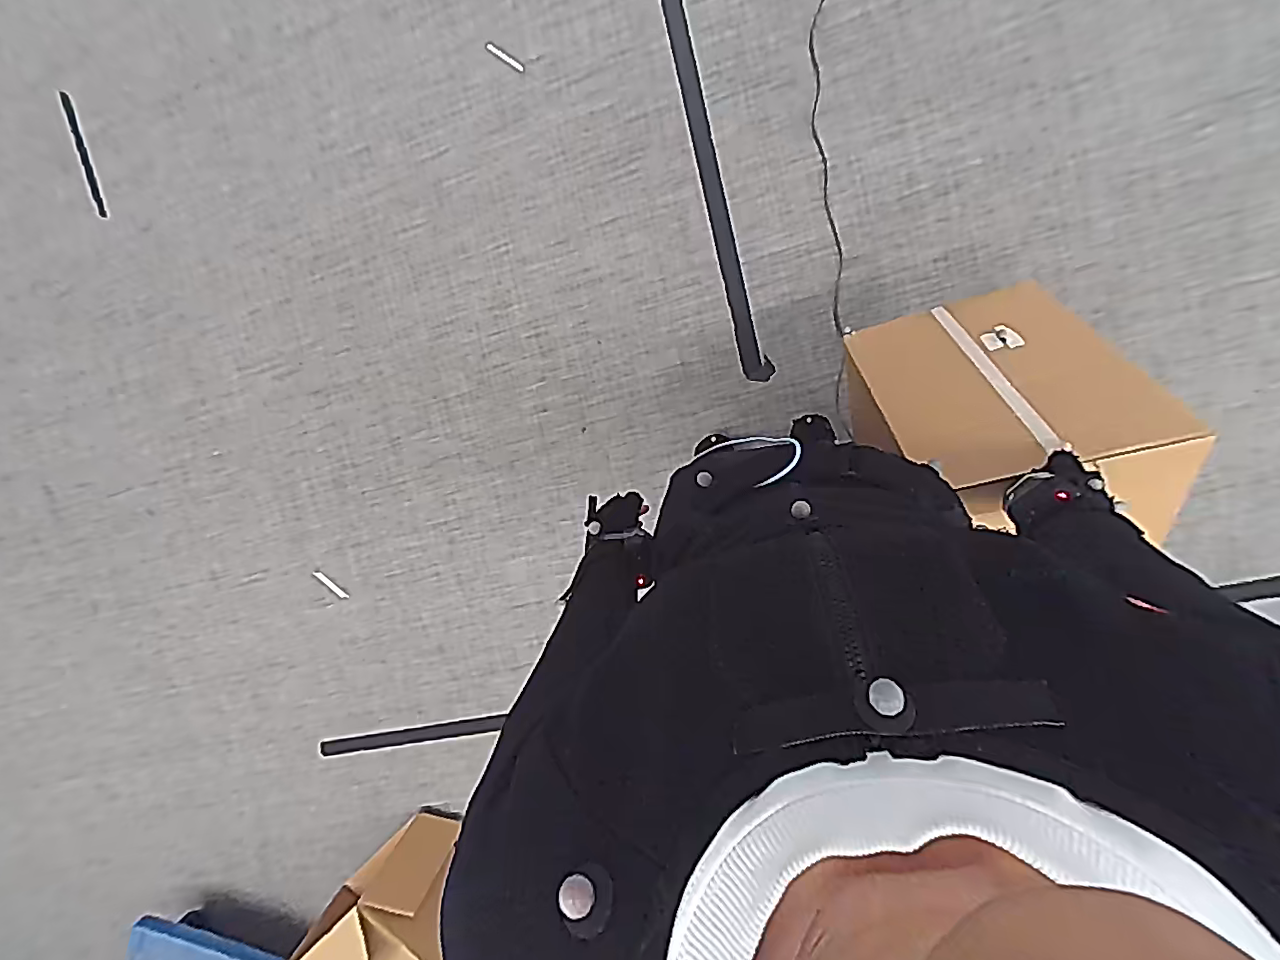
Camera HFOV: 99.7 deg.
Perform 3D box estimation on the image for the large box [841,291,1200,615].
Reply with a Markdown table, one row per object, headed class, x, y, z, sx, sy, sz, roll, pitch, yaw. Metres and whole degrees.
| class | x | y | z | sx | sy | sz | roll | pitch | yaw |
| --- | --- | --- | --- | --- | --- | --- | --- | --- | --- |
| large box | 0.562 | -0.047 | 0.903 | 0.320 | 0.408 | 0.320 | -14 | 131 | 12 |
